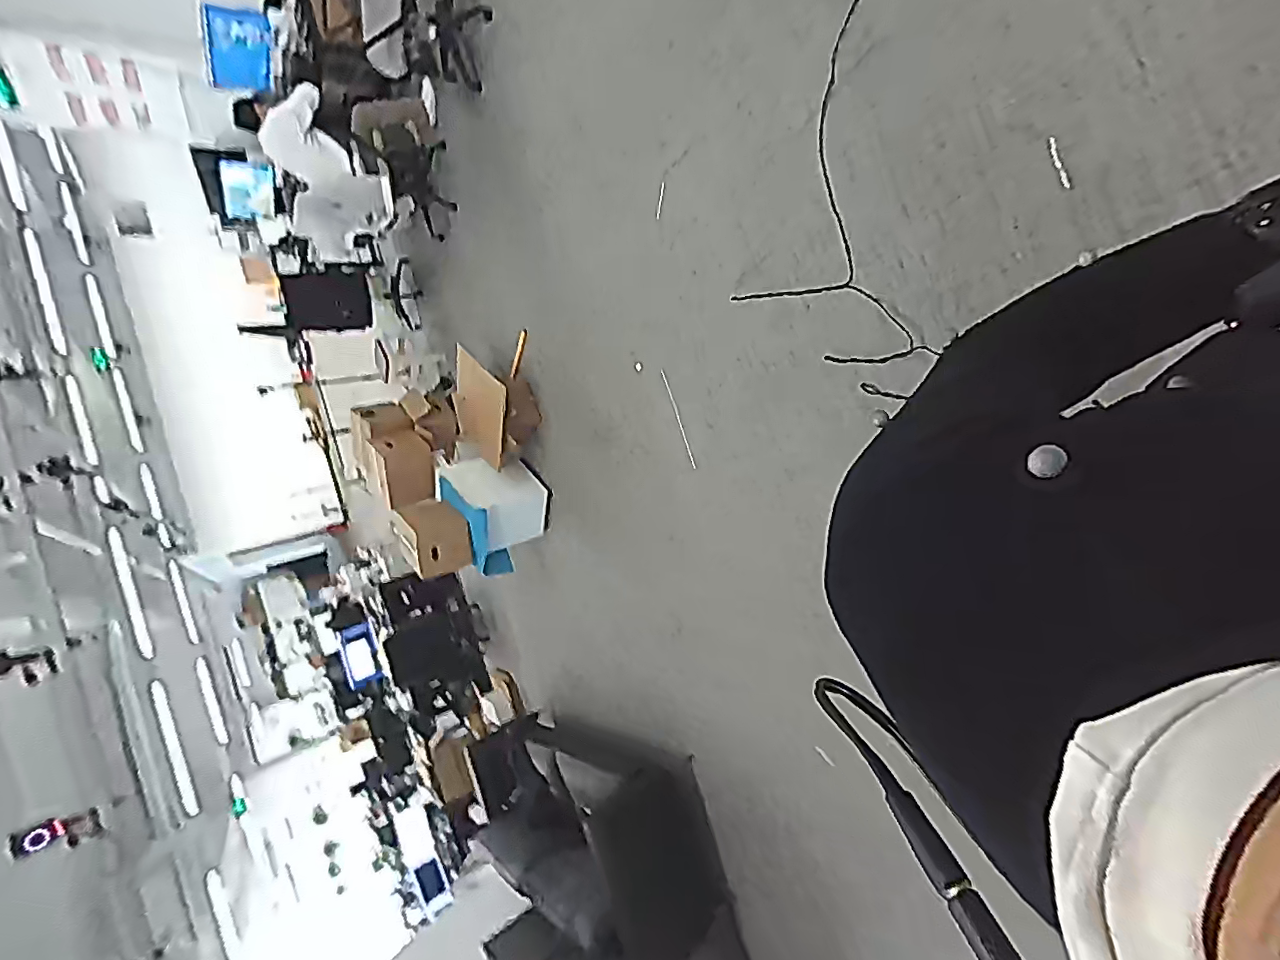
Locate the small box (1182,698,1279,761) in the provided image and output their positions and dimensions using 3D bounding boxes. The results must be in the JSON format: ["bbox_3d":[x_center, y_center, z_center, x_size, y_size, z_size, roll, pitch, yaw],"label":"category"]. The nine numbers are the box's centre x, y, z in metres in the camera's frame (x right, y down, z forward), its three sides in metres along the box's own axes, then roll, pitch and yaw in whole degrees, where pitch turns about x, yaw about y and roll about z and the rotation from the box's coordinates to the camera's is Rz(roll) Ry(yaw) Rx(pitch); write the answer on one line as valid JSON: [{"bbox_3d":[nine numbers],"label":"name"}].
[{"bbox_3d":[1.274,0.565,1.104,0.168,0.176,0.179,-43,69,50],"label":"small box"}]
